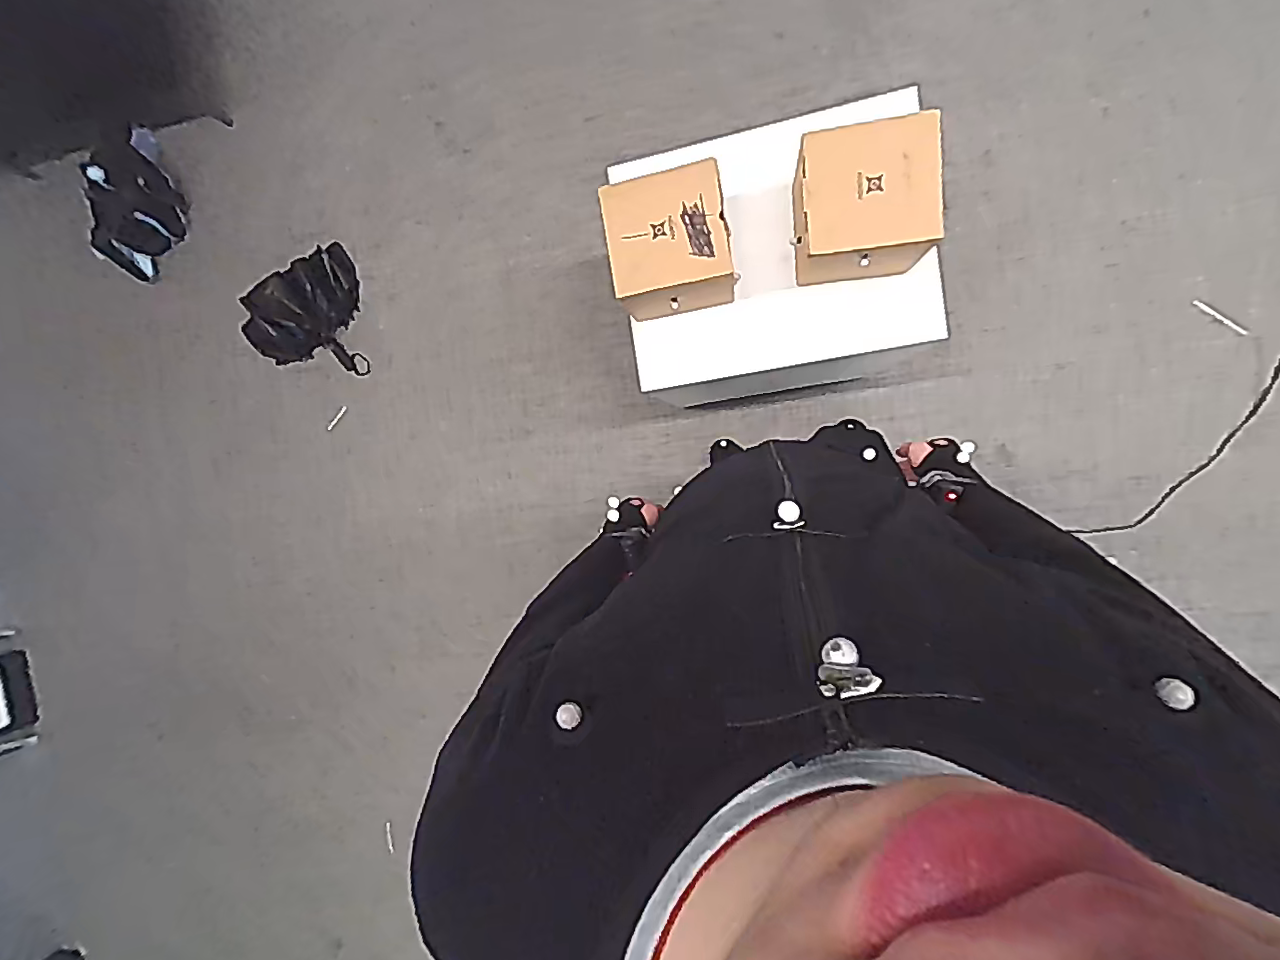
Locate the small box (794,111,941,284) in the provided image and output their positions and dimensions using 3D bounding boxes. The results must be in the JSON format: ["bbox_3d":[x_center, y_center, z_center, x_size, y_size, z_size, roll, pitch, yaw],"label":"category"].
[{"bbox_3d":[0.325,-0.402,0.803,0.179,0.176,0.168,-3,95,11],"label":"small box"}]

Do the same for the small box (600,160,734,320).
[{"bbox_3d":[0.051,-0.365,0.856,0.179,0.176,0.168,-9,93,12],"label":"small box"}]
